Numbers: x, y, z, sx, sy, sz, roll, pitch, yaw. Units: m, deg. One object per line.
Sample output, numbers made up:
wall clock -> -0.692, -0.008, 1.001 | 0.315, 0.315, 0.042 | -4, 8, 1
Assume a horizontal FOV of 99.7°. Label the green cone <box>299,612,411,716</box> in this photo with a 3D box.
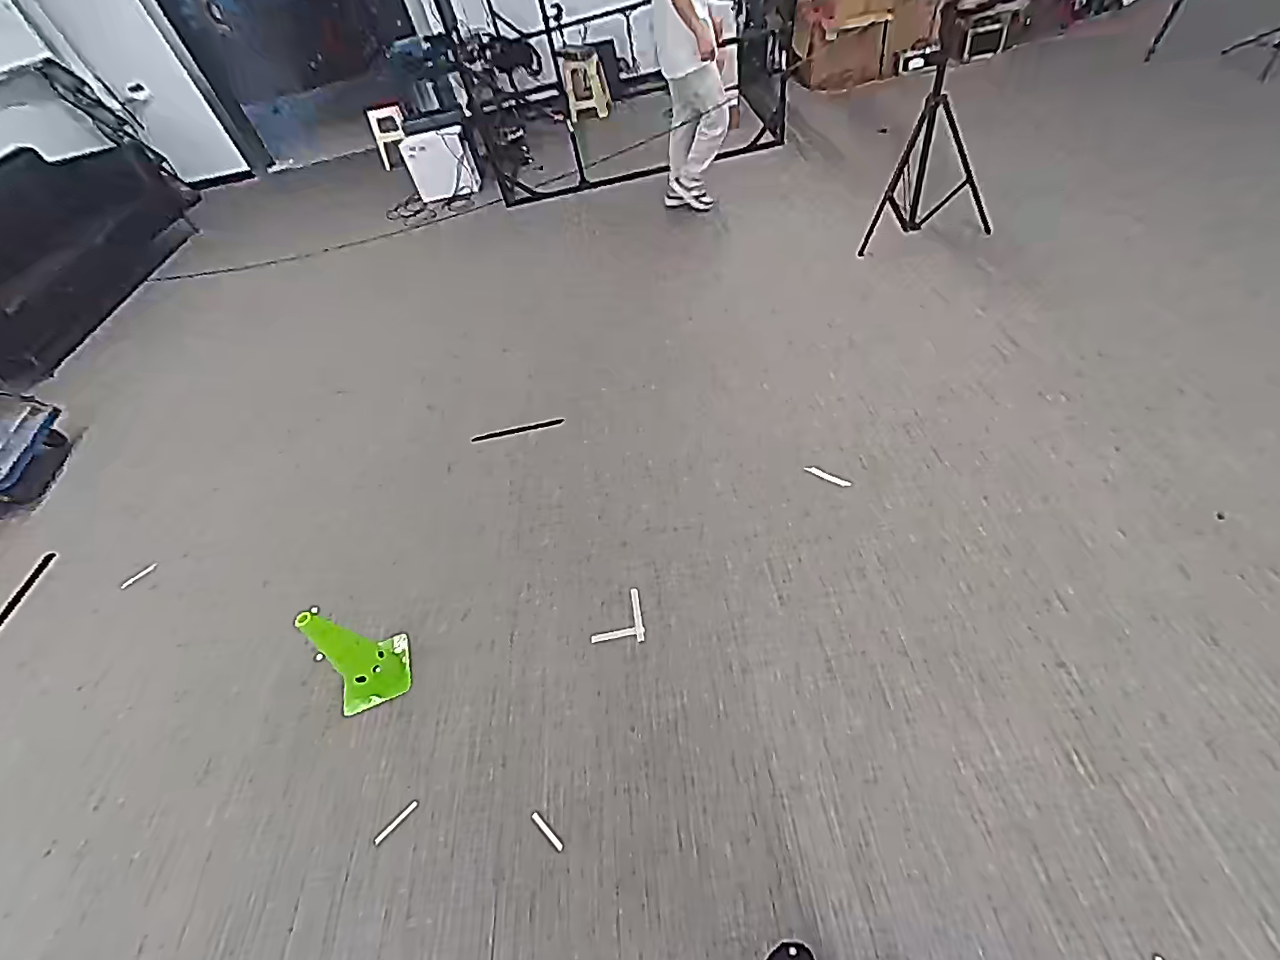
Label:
green cone -> -0.819, 0.473, 1.497 | 0.202, 0.368, 0.200 | -22, 48, -7
